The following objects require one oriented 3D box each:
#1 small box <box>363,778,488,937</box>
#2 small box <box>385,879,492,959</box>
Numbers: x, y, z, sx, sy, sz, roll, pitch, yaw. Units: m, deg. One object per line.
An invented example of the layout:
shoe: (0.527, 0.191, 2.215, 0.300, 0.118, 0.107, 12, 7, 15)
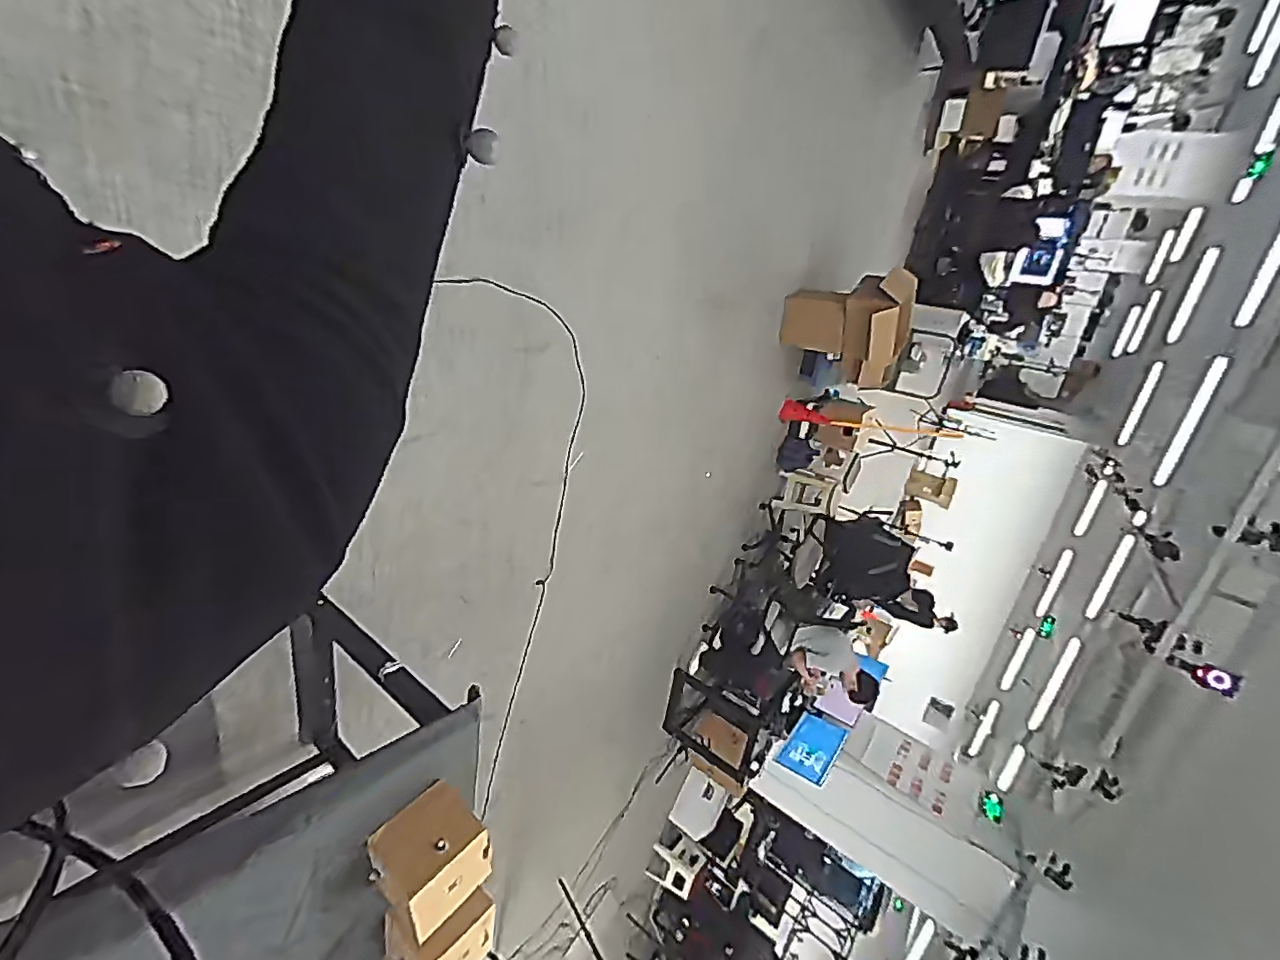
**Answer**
small box: (-0.442, 0.773, 1.126, 0.179, 0.176, 0.168, -27, 130, -45)
small box: (-0.467, 1.022, 1.245, 0.179, 0.176, 0.168, -17, 123, -51)
